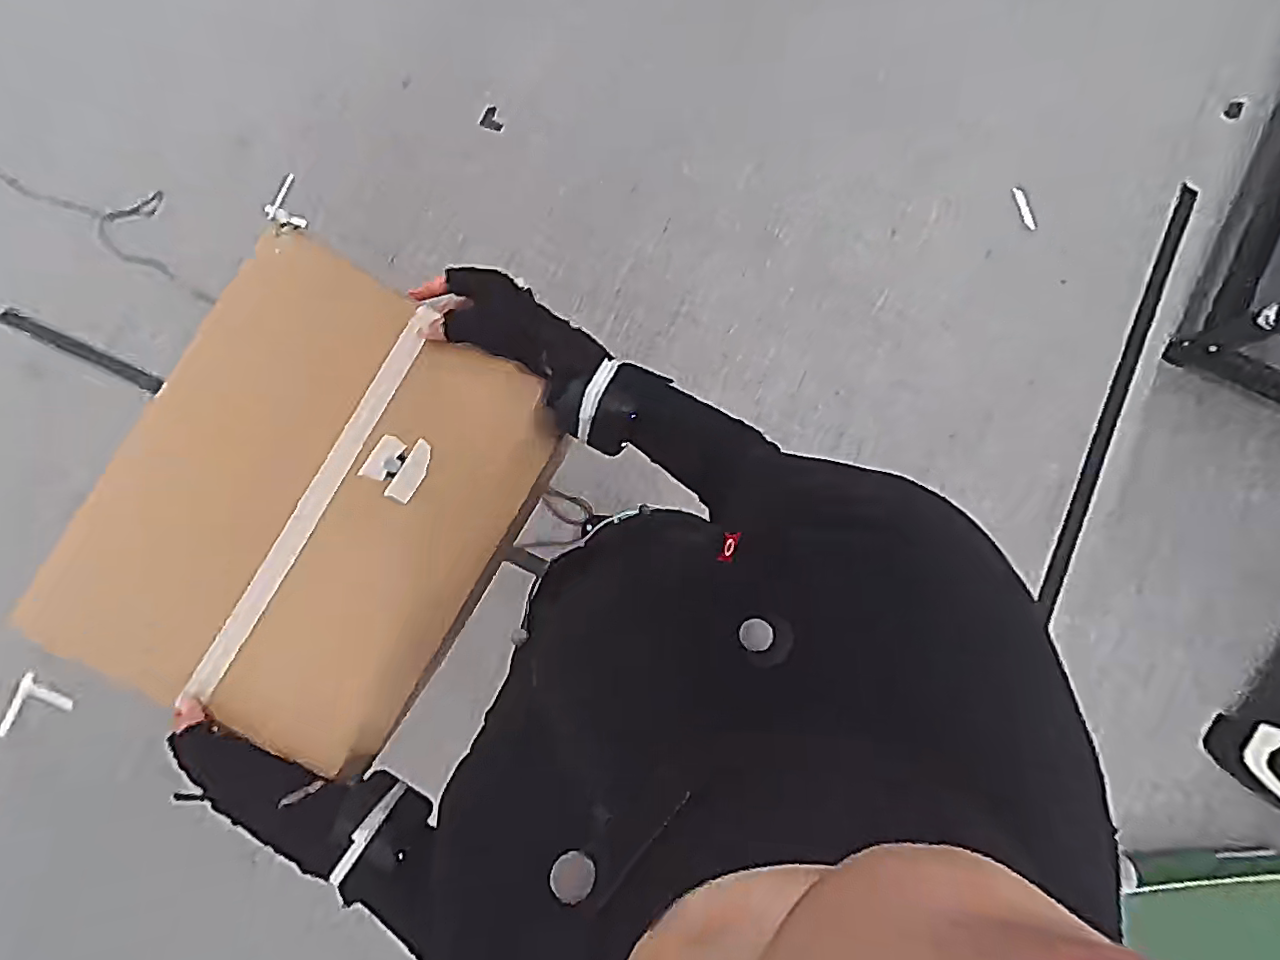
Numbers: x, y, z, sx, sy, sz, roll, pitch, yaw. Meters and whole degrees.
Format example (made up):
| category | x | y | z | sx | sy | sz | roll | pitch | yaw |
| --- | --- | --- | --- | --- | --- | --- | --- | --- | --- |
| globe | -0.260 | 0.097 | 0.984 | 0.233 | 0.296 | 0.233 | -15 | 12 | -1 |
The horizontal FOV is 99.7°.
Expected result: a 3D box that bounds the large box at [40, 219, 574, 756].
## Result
| category | x | y | z | sx | sy | sz | roll | pitch | yaw |
| --- | --- | --- | --- | --- | --- | --- | --- | --- | --- |
| large box | -0.308 | 0.011 | 0.636 | 0.320 | 0.320 | 0.408 | 30 | 85 | -8 |
